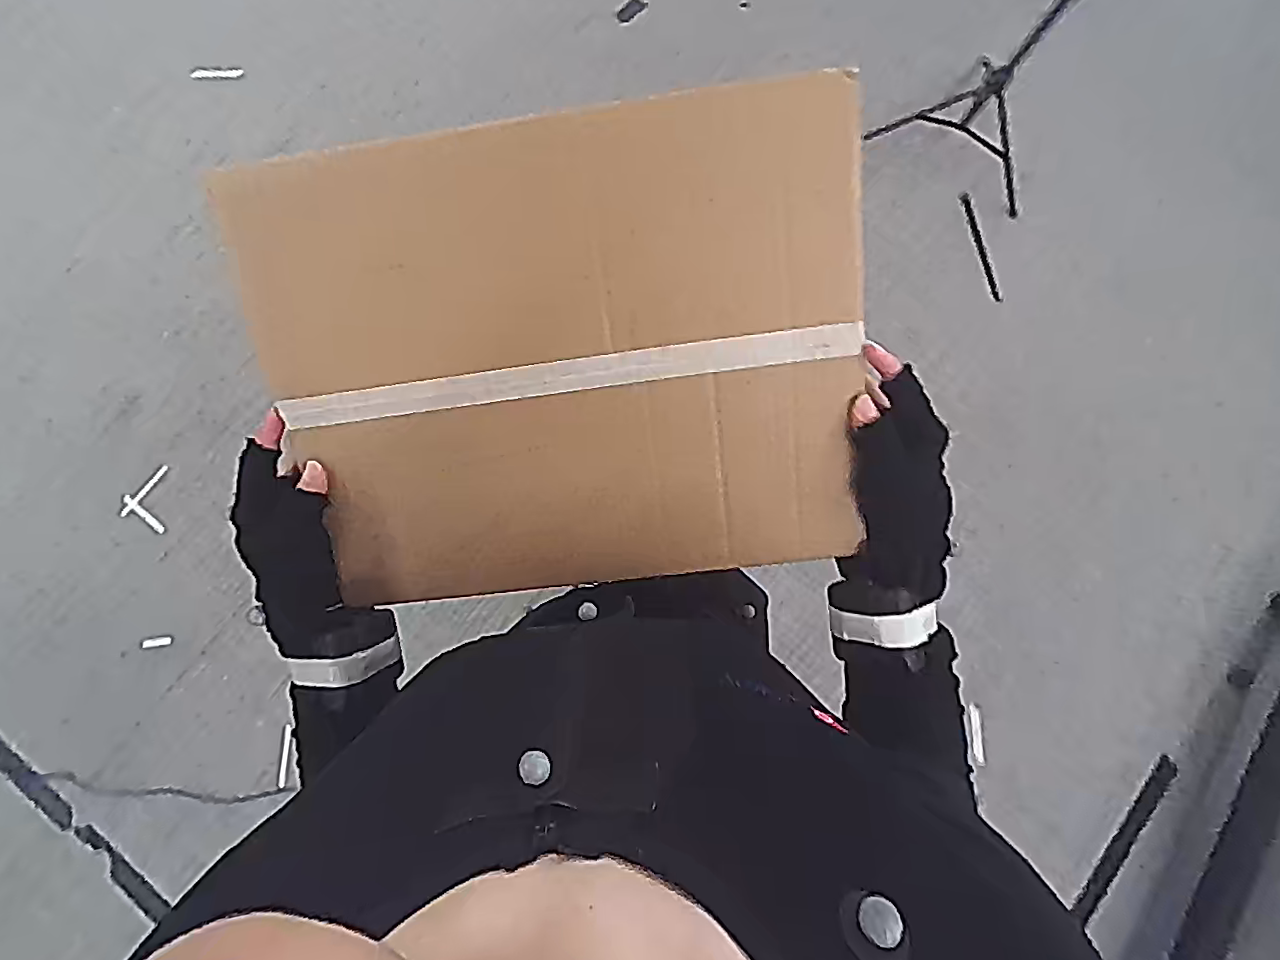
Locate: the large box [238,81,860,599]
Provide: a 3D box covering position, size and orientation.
[{"bbox_3d":[-0.047,-0.114,0.523,0.408,0.320,0.320,-6,107,3],"label":"large box"}]
